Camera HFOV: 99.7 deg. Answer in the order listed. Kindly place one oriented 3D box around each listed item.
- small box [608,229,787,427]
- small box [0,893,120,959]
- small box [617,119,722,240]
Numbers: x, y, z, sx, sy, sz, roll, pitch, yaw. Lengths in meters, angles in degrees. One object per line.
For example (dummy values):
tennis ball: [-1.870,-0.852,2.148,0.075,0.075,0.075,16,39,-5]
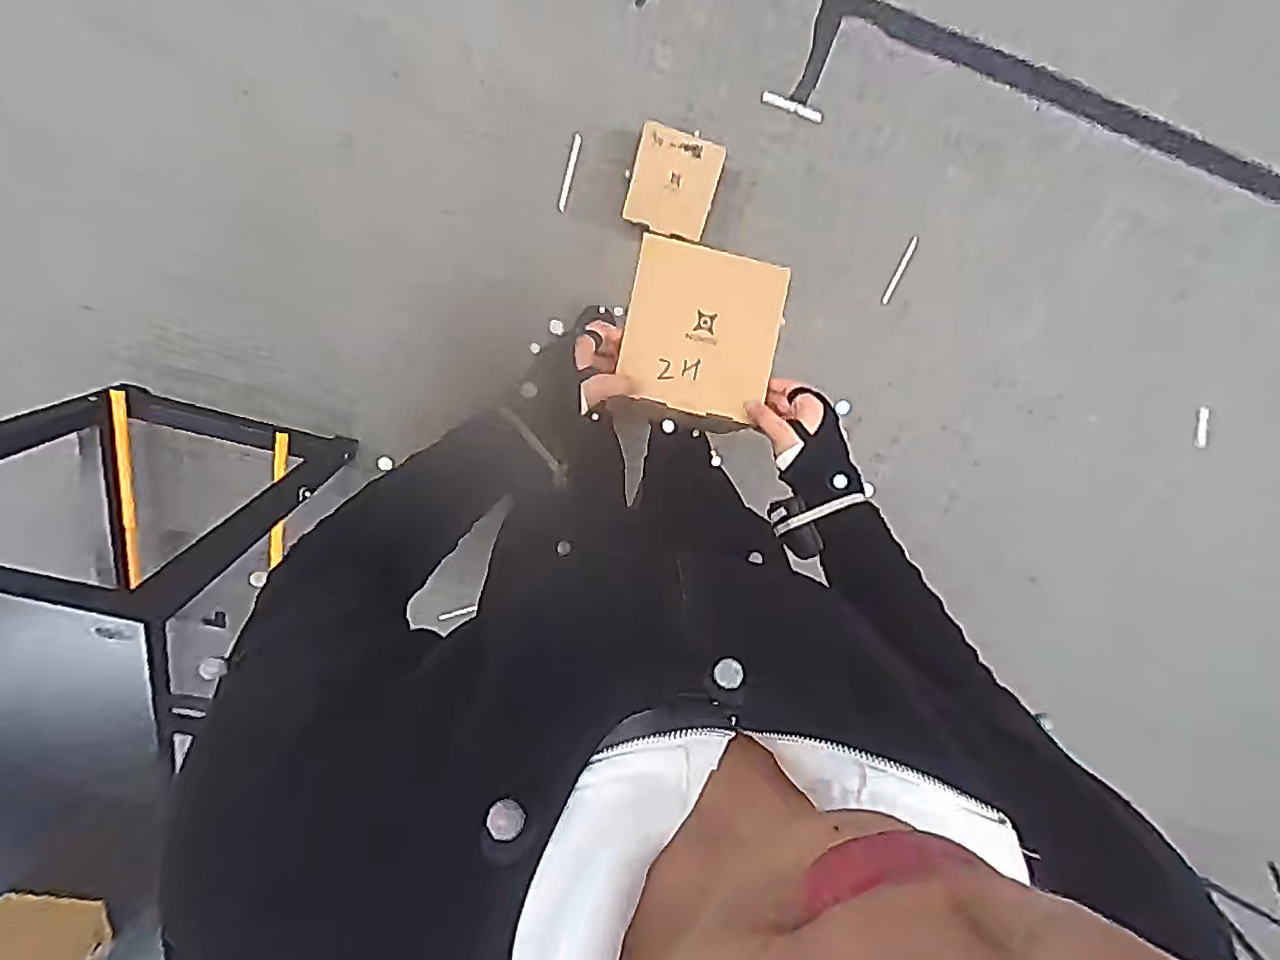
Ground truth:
small box: [0.057,-0.168,0.659,0.168,0.176,0.179,12,91,-6]
small box: [-1.156,0.919,1.022,0.179,0.176,0.168,11,116,-8]
small box: [0.057,-0.615,1.126,0.168,0.176,0.179,15,115,-8]
